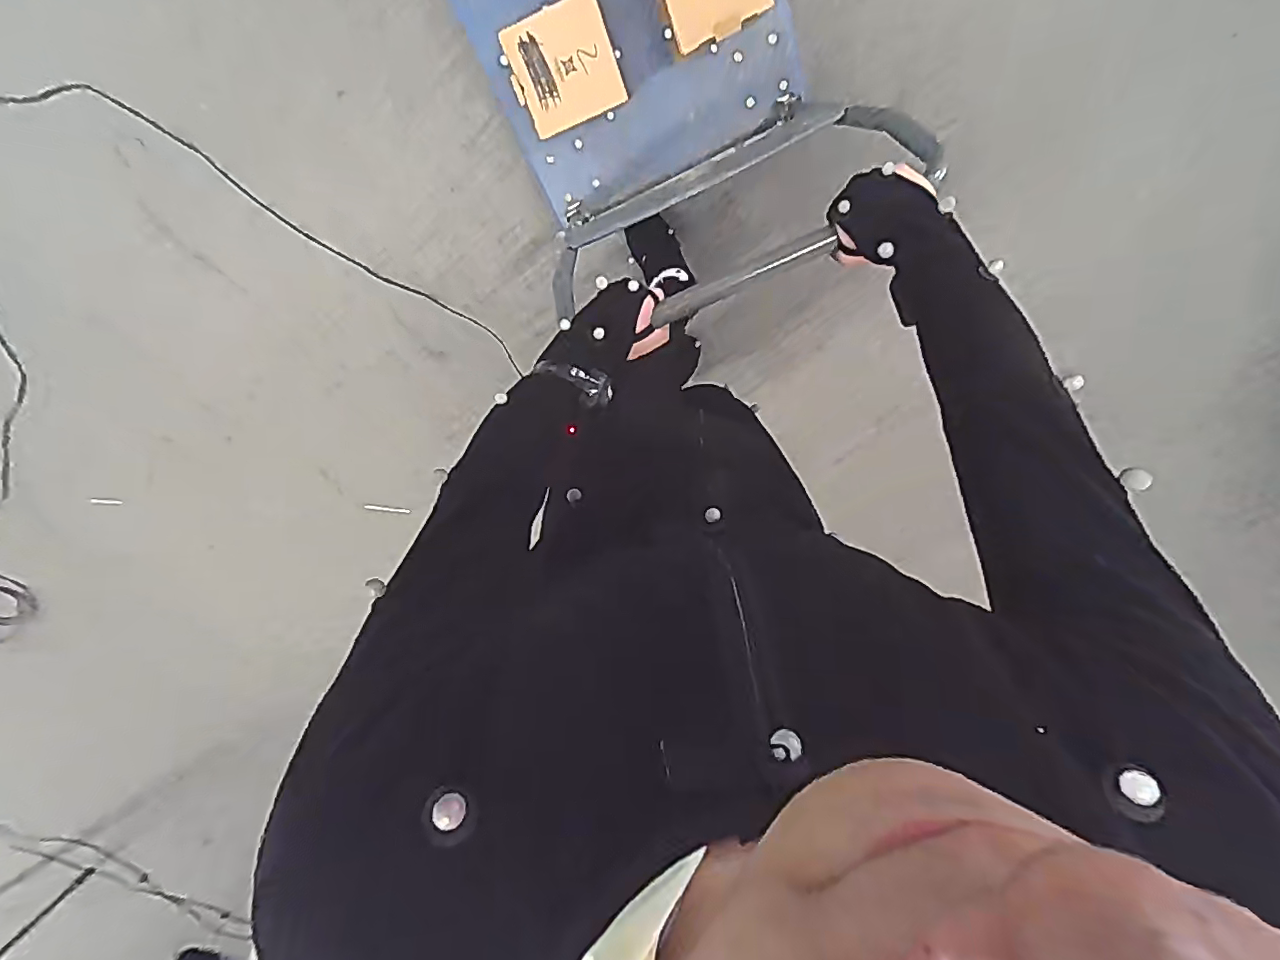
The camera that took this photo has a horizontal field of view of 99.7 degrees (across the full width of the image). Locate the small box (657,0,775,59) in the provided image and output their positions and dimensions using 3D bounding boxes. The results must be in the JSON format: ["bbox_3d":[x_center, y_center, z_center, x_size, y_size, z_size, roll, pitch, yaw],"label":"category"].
[{"bbox_3d":[0.113,-0.868,0.931,0.168,0.176,0.179,-21,122,12],"label":"small box"}]
